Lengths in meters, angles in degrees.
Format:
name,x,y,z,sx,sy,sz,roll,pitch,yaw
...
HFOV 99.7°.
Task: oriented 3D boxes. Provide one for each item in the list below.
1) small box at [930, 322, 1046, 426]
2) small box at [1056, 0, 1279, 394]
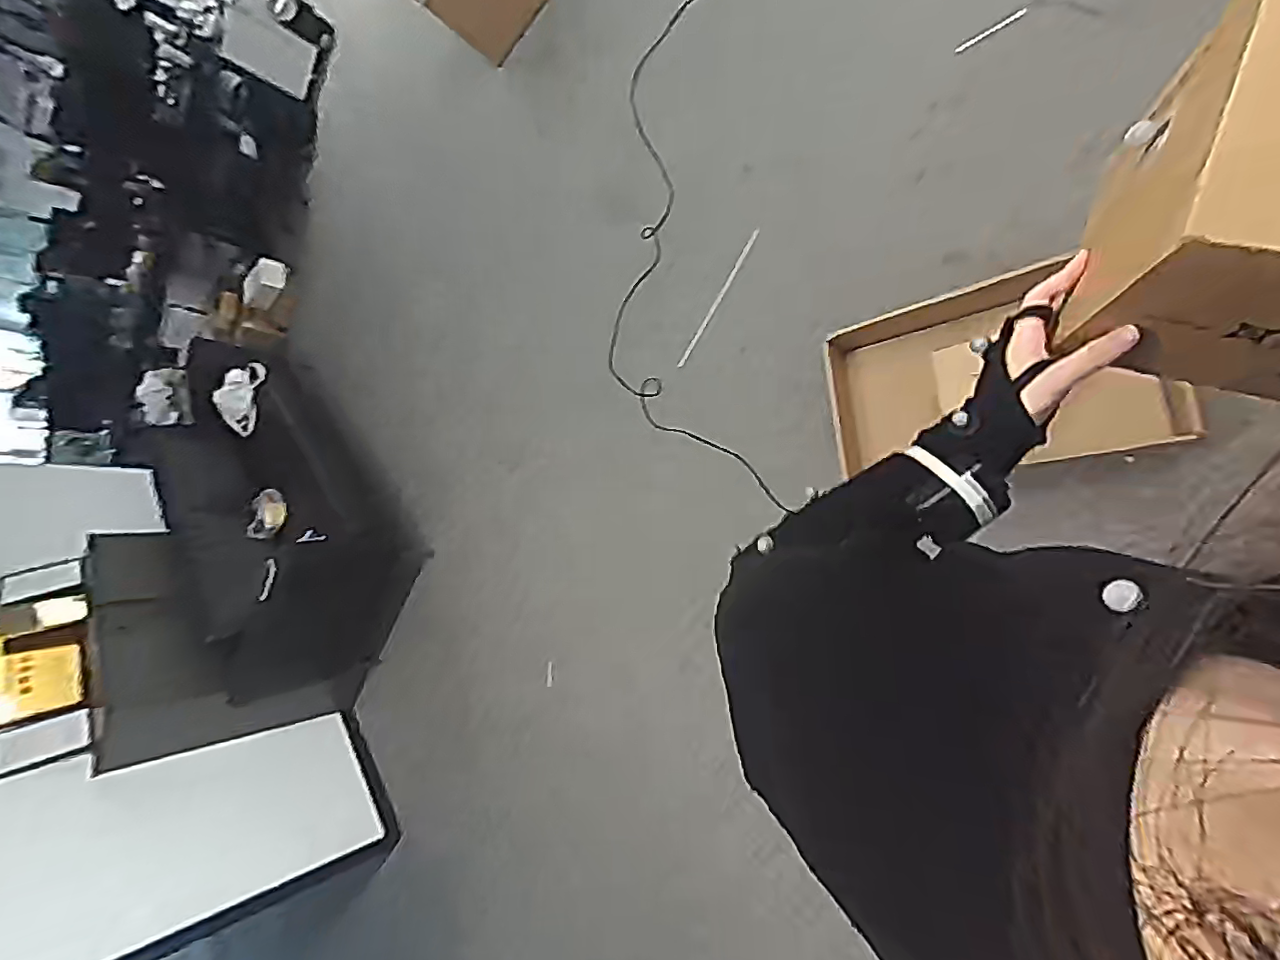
name,x,y,z,sx,sy,sz,roll,pitch,yaw
small box,0.759,-0.219,1.179,0.179,0.176,0.168,-13,80,39
small box,0.410,-0.166,0.325,0.179,0.168,0.176,21,90,17
